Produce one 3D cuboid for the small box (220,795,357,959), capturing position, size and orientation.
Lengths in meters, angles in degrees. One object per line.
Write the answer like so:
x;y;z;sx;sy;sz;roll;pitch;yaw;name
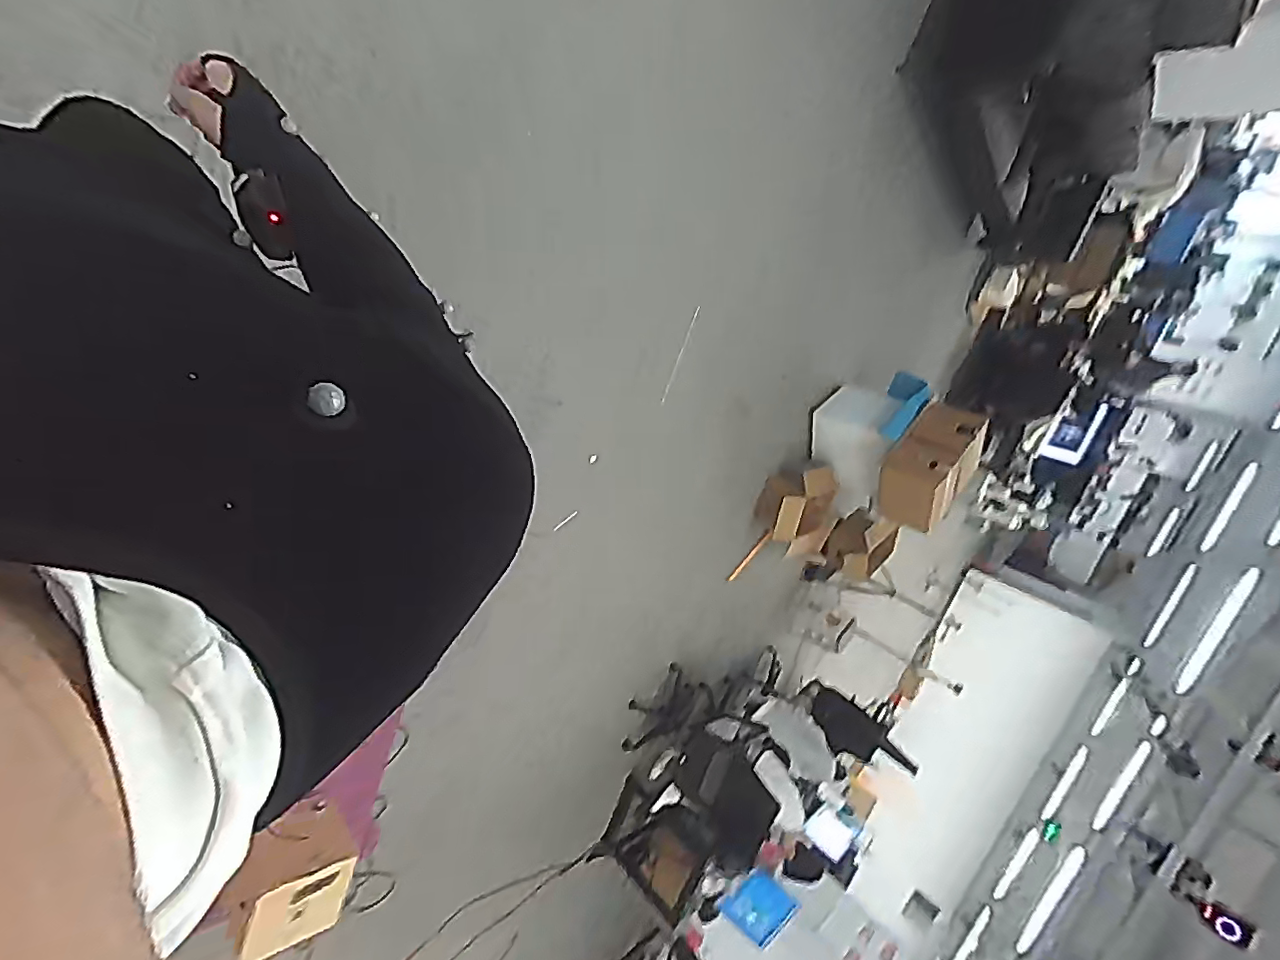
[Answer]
-0.679;0.745;1.040;0.168;0.176;0.179;10;105;-50;small box
